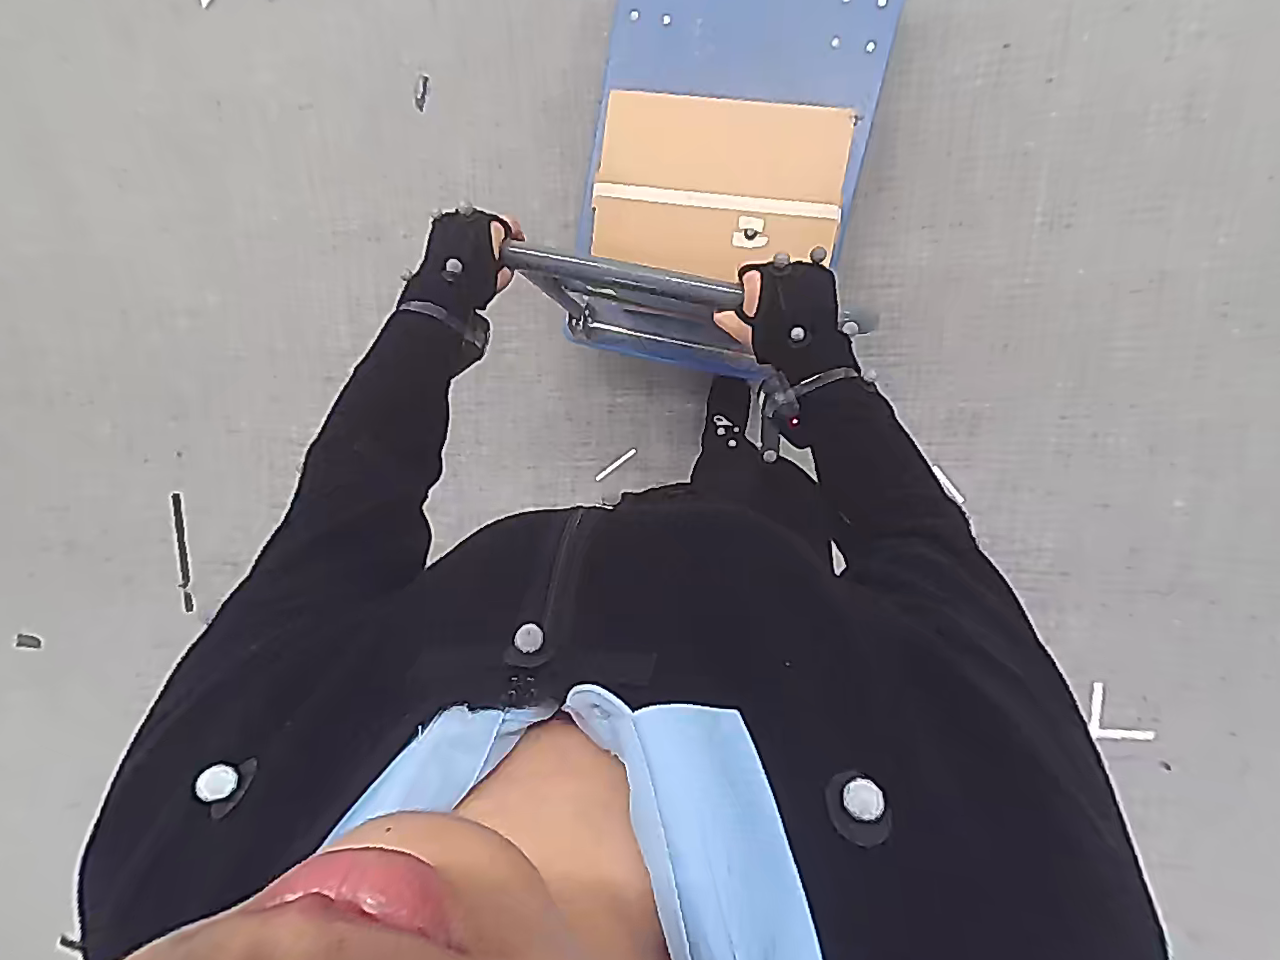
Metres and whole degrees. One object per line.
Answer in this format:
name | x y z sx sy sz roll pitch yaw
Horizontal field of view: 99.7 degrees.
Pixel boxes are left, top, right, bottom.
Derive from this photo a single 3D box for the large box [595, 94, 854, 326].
large box | 0.148 -0.497 1.061 0.408 0.320 0.320 9 101 6
